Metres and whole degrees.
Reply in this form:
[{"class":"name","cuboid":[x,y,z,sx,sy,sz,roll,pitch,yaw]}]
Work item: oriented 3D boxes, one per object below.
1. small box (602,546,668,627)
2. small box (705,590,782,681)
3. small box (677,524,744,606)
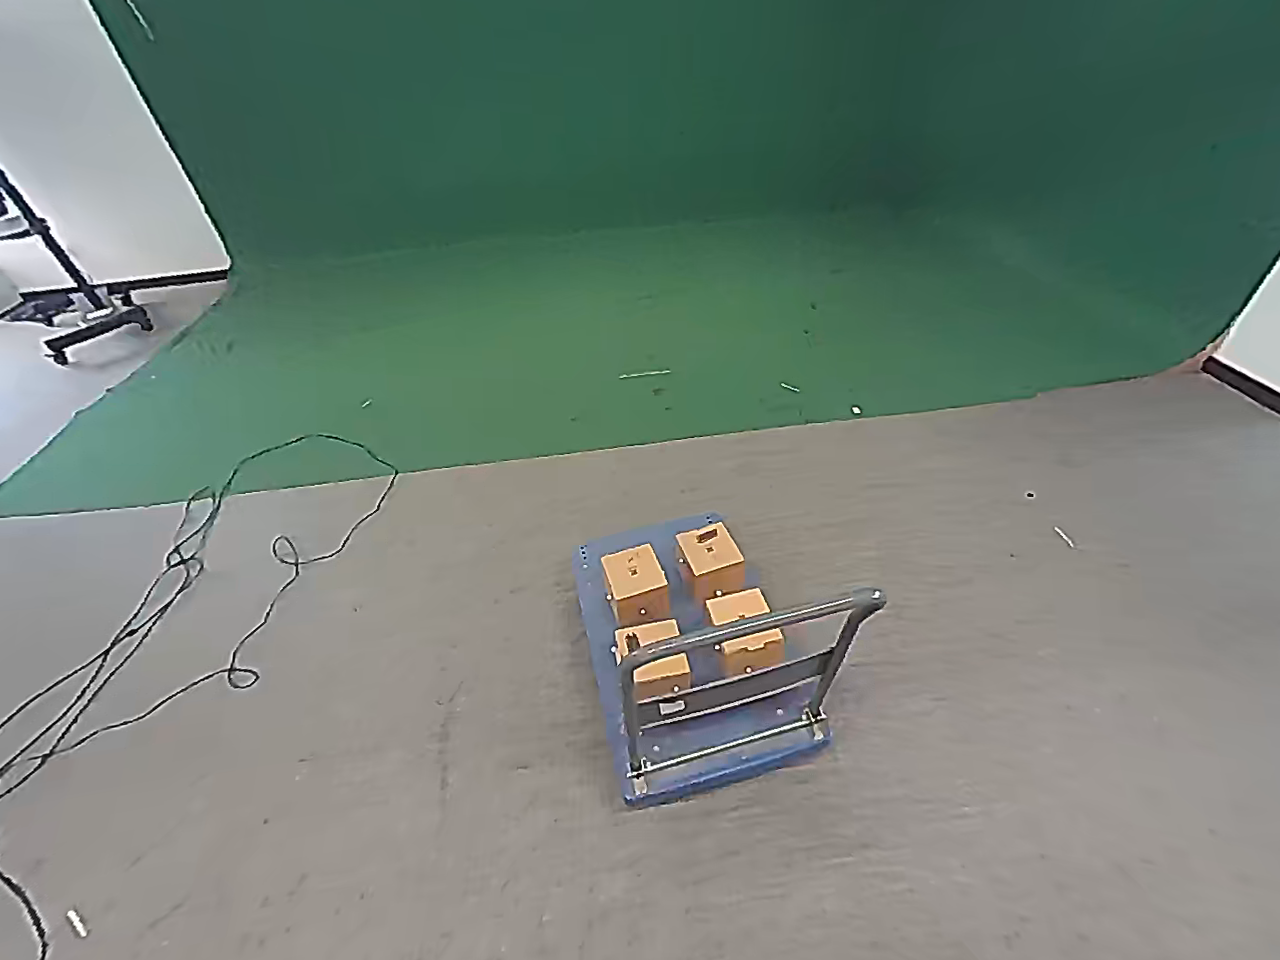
[{"class":"small box","cuboid":[-0.014,0.344,1.719,0.168,0.176,0.179,-14,43,-12]},{"class":"small box","cuboid":[0.293,0.453,1.573,0.168,0.176,0.179,-12,43,-8]},{"class":"small box","cuboid":[0.224,0.279,1.768,0.168,0.176,0.179,-15,44,-10]}]
